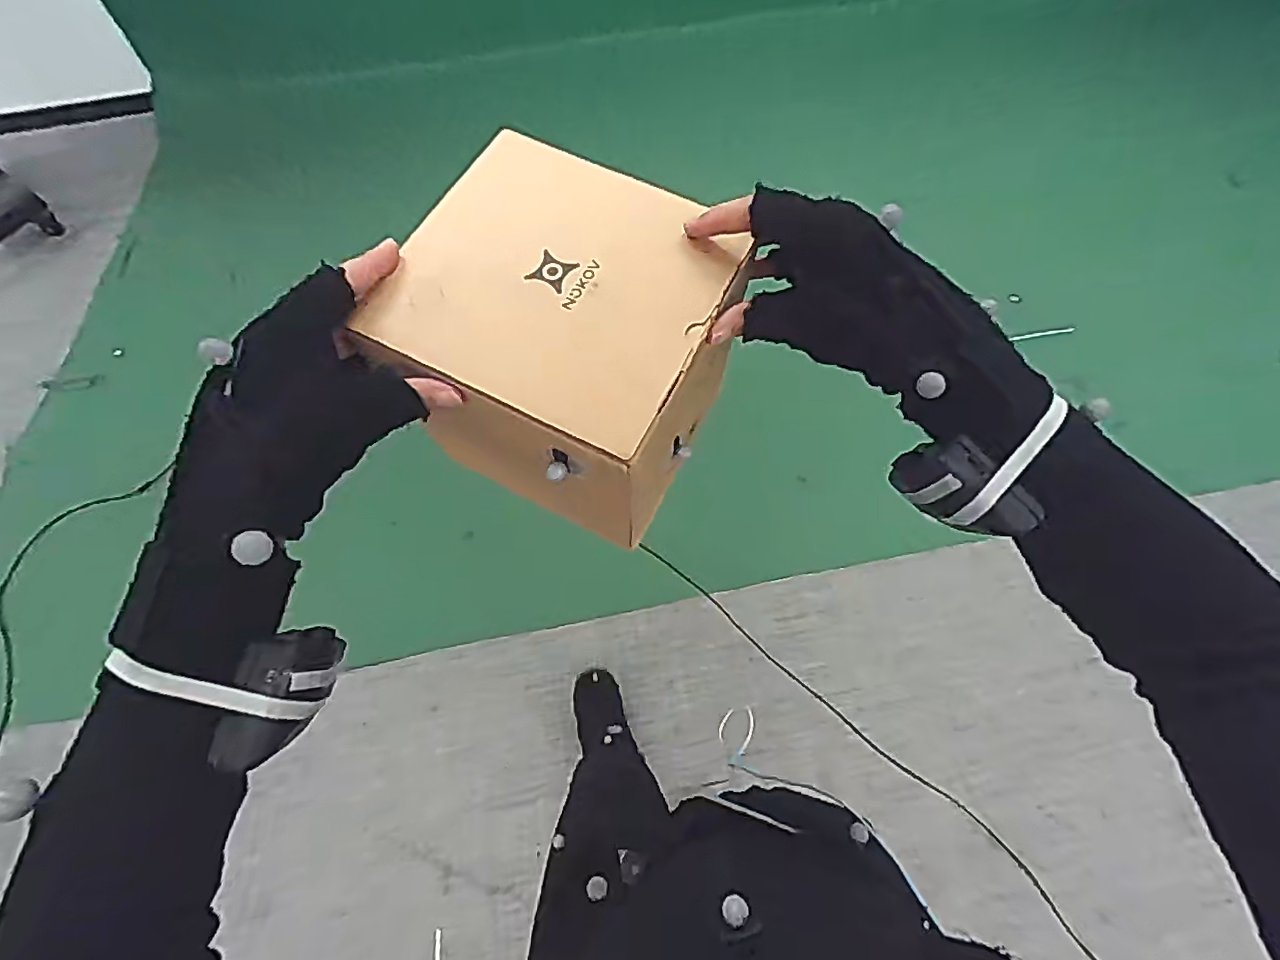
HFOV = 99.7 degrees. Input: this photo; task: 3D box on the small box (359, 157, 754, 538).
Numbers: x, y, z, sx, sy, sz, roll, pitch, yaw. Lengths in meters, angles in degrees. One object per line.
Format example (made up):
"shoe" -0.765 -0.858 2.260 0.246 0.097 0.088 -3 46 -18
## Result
"small box" -0.045 -0.078 0.385 0.179 0.176 0.168 26 71 8
